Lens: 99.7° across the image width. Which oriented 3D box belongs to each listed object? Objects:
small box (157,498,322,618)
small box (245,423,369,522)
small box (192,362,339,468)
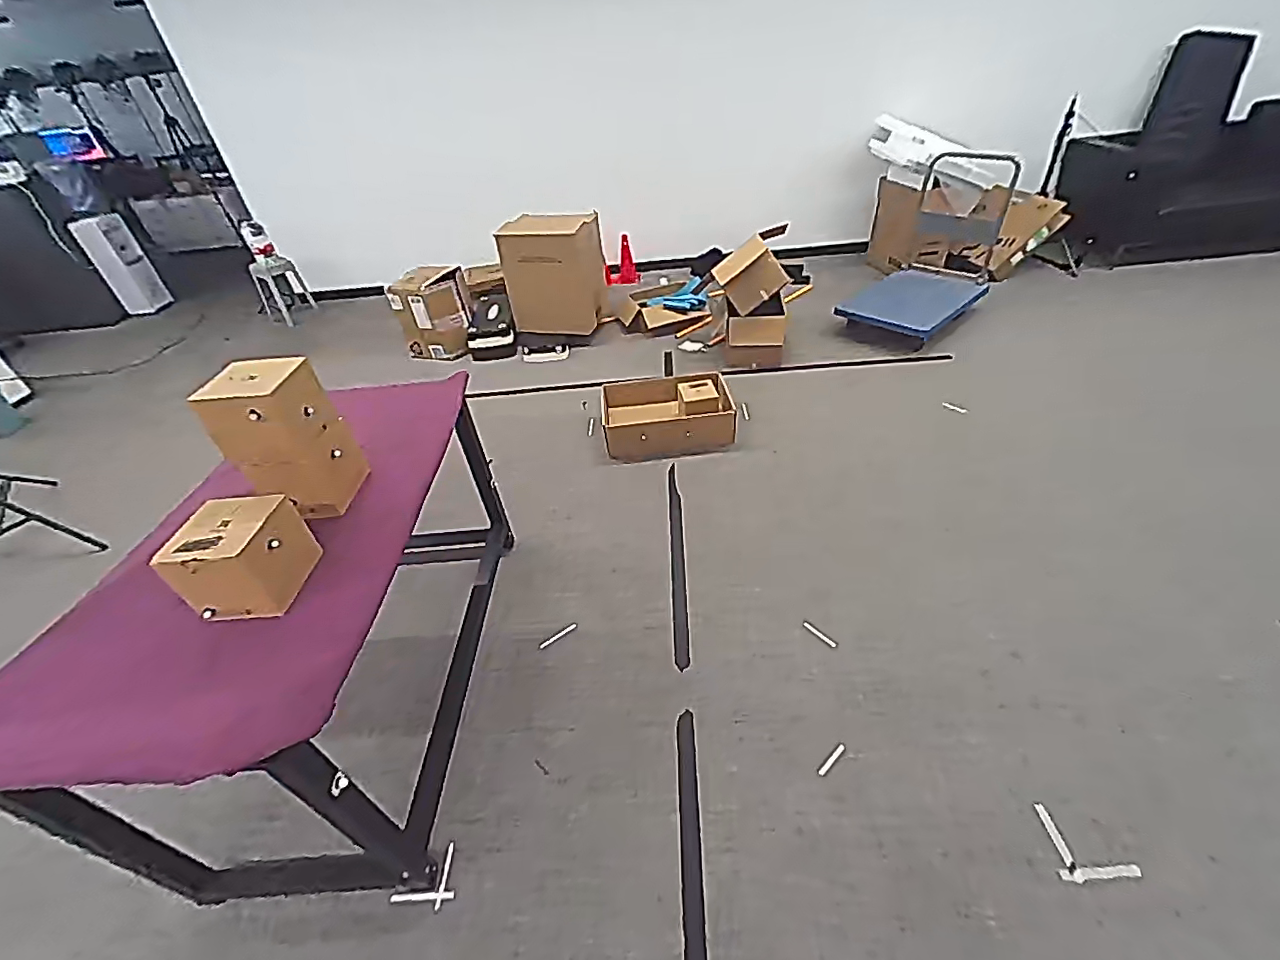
[{"bbox_3d":[-0.772,0.159,1.070,0.168,0.176,0.179,-4,38,3],"label":"small box"},{"bbox_3d":[-0.781,-0.018,1.294,0.168,0.176,0.179,-4,39,4],"label":"small box"},{"bbox_3d":[-0.805,-0.141,1.187,0.179,0.176,0.168,-4,39,4],"label":"small box"}]
